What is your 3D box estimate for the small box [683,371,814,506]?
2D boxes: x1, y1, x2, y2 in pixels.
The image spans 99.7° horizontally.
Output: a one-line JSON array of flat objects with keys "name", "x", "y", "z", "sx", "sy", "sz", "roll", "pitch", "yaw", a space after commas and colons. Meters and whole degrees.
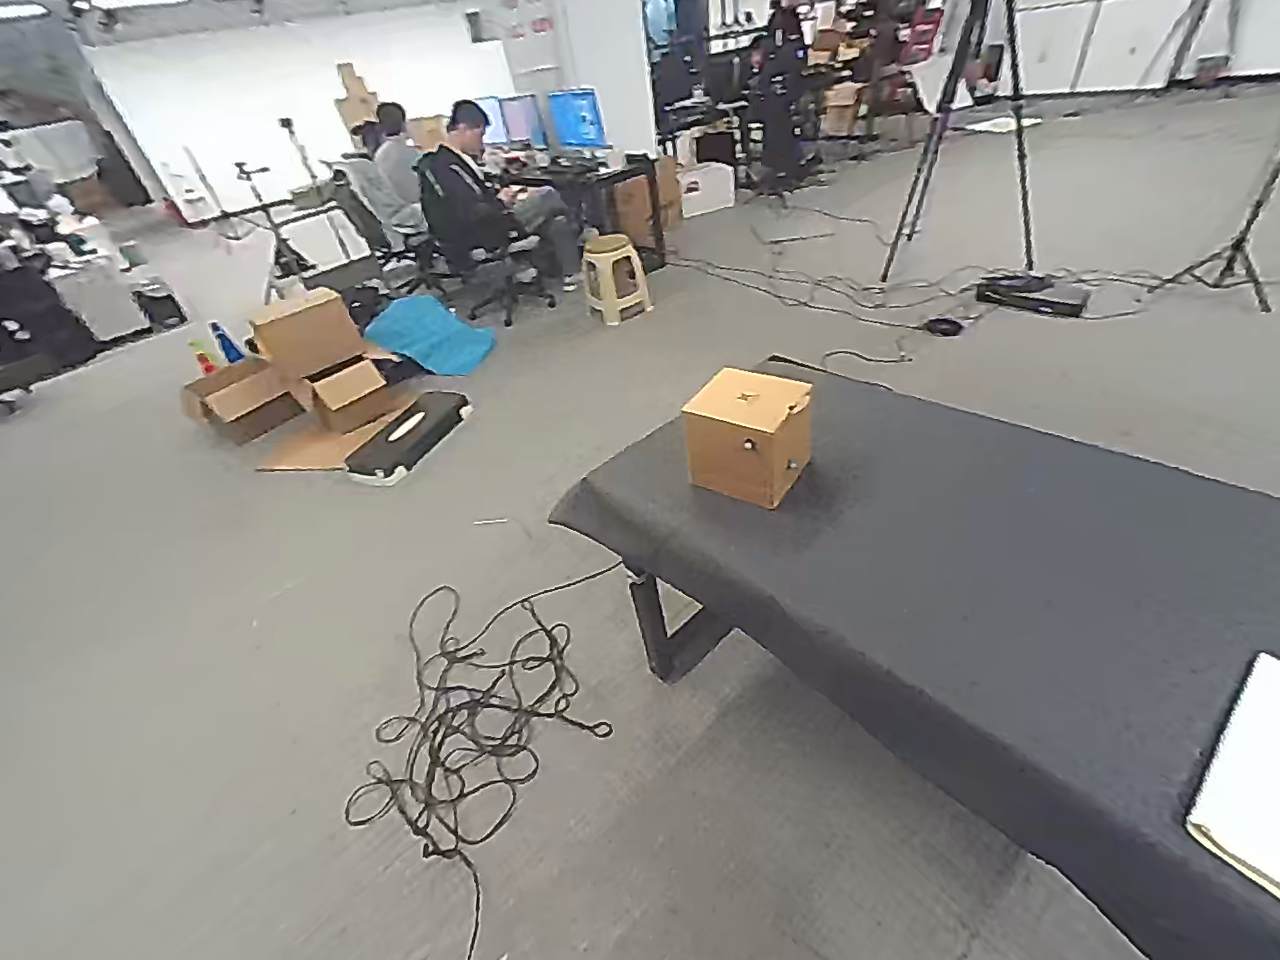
[{"name": "small box", "x": 0.199, "y": -0.076, "z": 0.986, "sx": 0.179, "sy": 0.176, "sz": 0.168, "roll": 19, "pitch": 46, "yaw": 31}]
